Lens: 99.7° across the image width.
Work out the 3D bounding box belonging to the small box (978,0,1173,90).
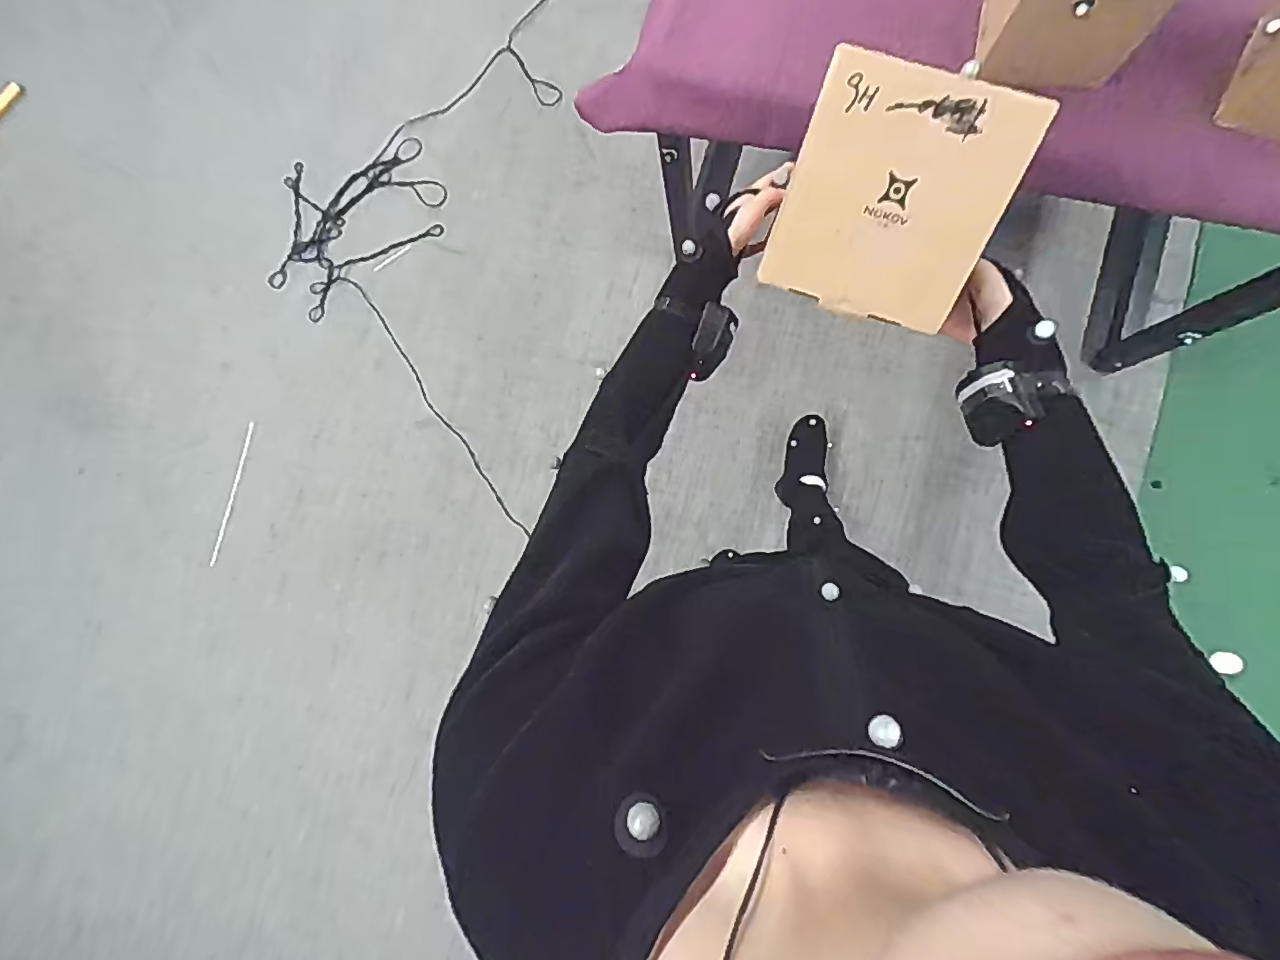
[{"bbox_3d":[0.573,-0.648,0.701,0.179,0.176,0.168,10,86,8],"label":"small box"}]

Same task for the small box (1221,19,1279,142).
[{"bbox_3d":[0.885,-0.525,0.644,0.179,0.176,0.168,26,88,11],"label":"small box"}]
